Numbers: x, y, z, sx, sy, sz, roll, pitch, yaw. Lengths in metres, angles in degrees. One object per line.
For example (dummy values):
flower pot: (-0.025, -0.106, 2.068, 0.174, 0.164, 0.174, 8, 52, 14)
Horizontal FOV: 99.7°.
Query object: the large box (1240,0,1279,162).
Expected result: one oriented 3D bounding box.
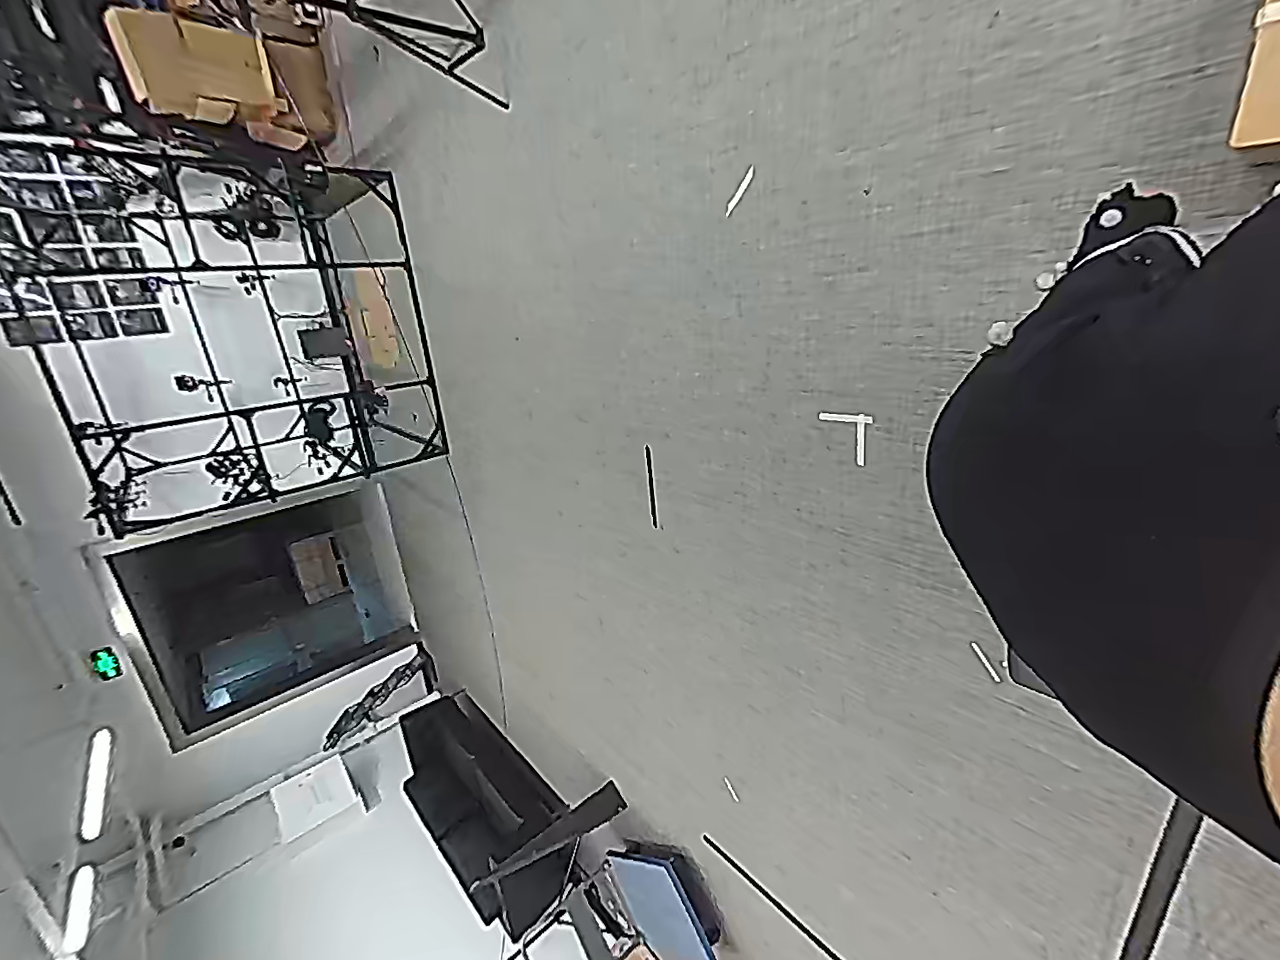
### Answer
large box: (1.064, -0.616, 0.656, 0.408, 0.320, 0.320, 17, 119, 45)
